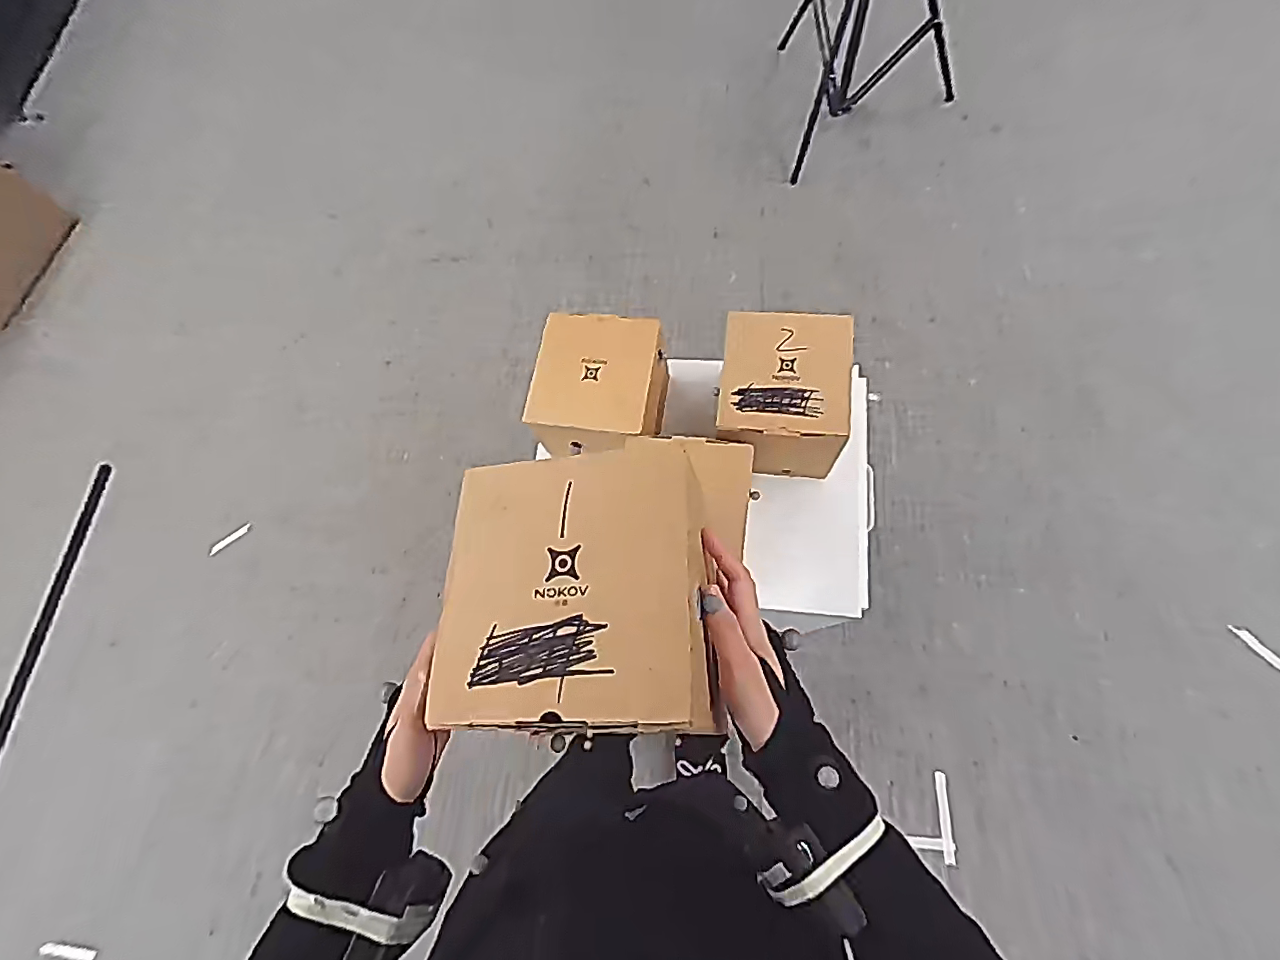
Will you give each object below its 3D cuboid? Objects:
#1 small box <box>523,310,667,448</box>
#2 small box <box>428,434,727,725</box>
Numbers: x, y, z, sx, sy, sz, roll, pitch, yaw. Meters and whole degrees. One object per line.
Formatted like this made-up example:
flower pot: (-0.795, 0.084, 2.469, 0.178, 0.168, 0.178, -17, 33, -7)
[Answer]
small box: (-0.055, -0.128, 0.808, 0.168, 0.176, 0.179, 6, 73, 9)
small box: (-0.027, 0.088, 0.410, 0.168, 0.176, 0.179, -5, 63, 13)
